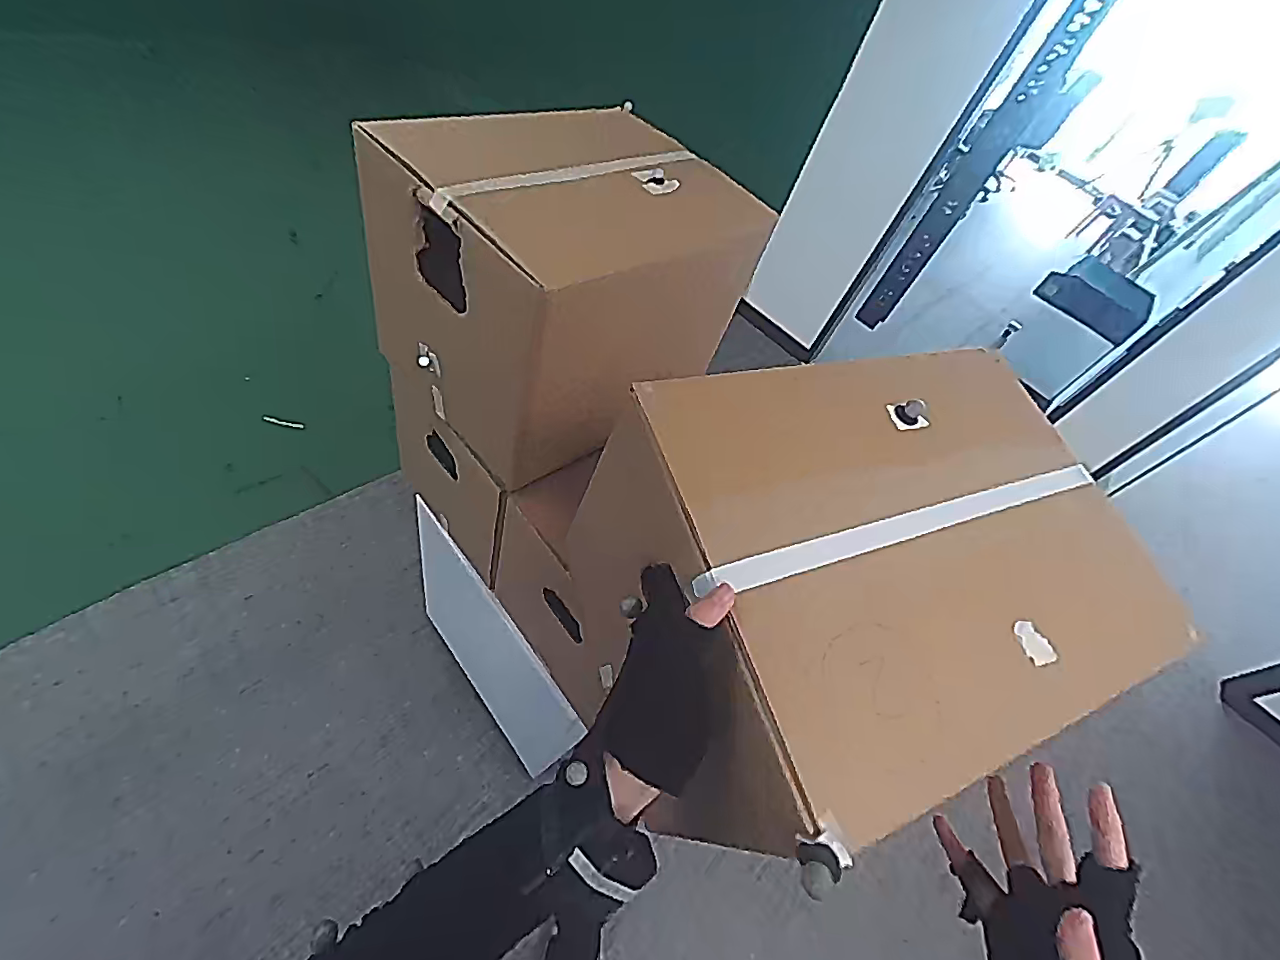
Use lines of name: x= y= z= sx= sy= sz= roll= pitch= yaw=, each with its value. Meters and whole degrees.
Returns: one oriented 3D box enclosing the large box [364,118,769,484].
large box: x=-0.100 y=-0.264 z=0.756 sx=0.320 sy=0.320 sz=0.408 roll=44 pitch=51 yaw=16
